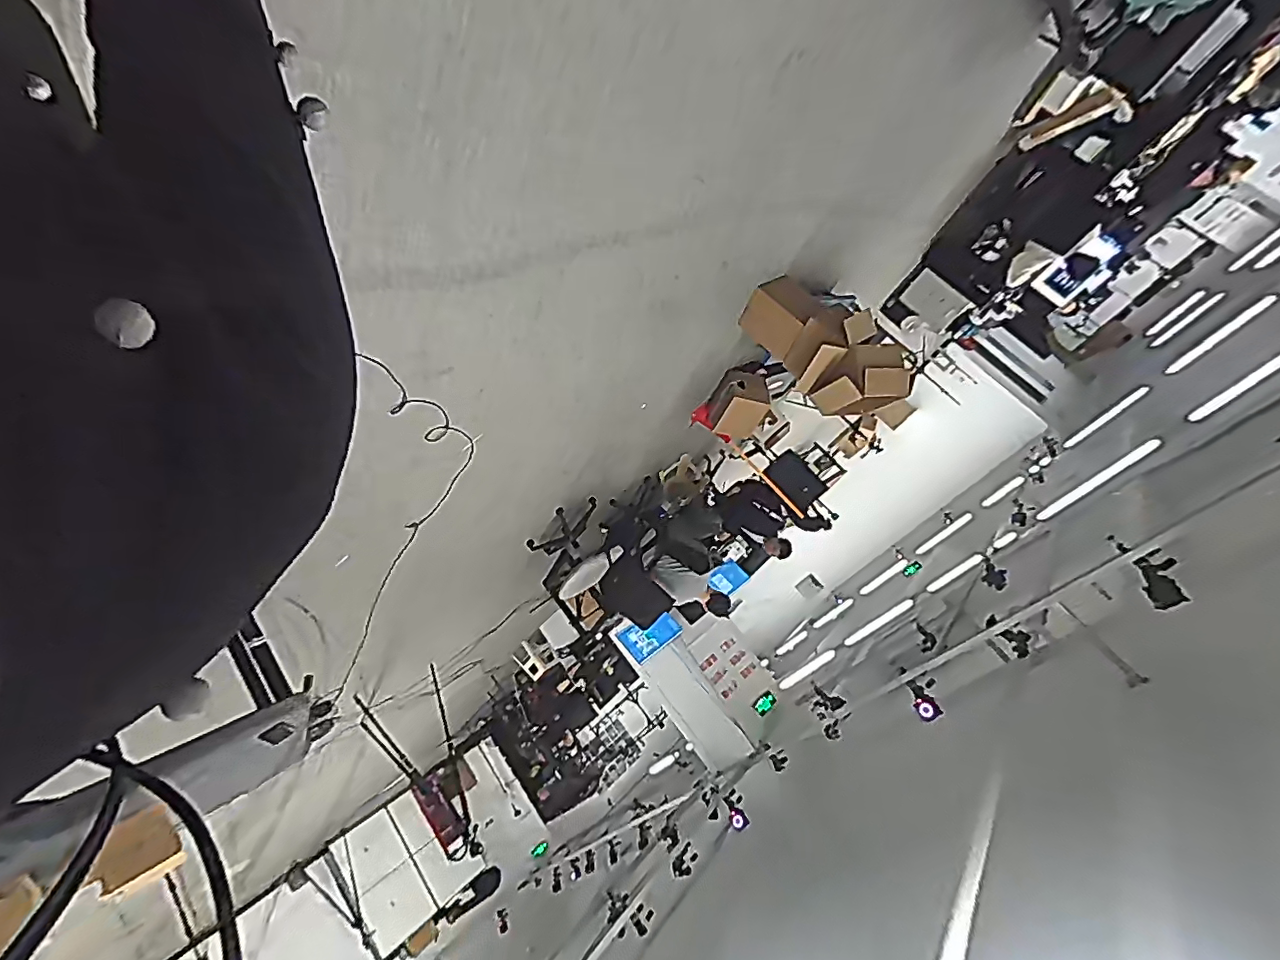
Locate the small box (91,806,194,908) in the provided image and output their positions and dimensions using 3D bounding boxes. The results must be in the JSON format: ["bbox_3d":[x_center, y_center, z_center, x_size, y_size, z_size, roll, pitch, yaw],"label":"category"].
[{"bbox_3d":[-1.466,1.109,1.599,0.179,0.176,0.168,-25,156,-46],"label":"small box"}]

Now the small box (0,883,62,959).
[{"bbox_3d":[-1.646,1.186,1.391,0.168,0.176,0.179,-22,156,-47],"label":"small box"}]
